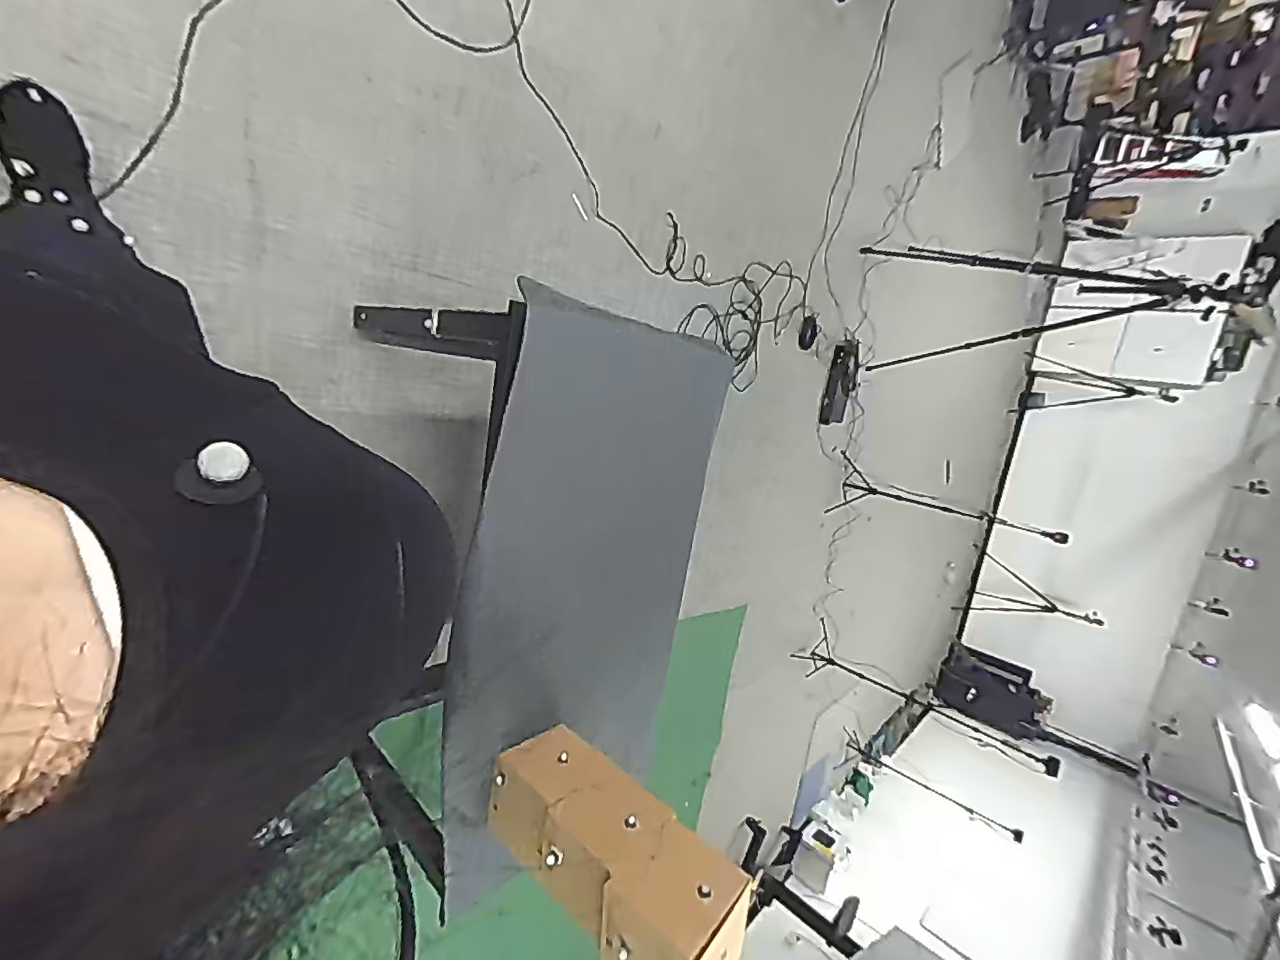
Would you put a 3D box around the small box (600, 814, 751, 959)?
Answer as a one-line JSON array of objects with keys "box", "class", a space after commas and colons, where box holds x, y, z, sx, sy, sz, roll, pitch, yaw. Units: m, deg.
[{"box": [0.057, 0.696, 0.879, 0.179, 0.176, 0.168, -12, 110, -48], "class": "small box"}]

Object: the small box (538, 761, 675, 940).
[{"box": [-0.061, 0.658, 0.988, 0.179, 0.176, 0.168, -8, 107, -48], "class": "small box"}]

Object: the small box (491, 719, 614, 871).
[{"box": [-0.180, 0.622, 1.093, 0.179, 0.176, 0.168, -3, 105, -51], "class": "small box"}]
